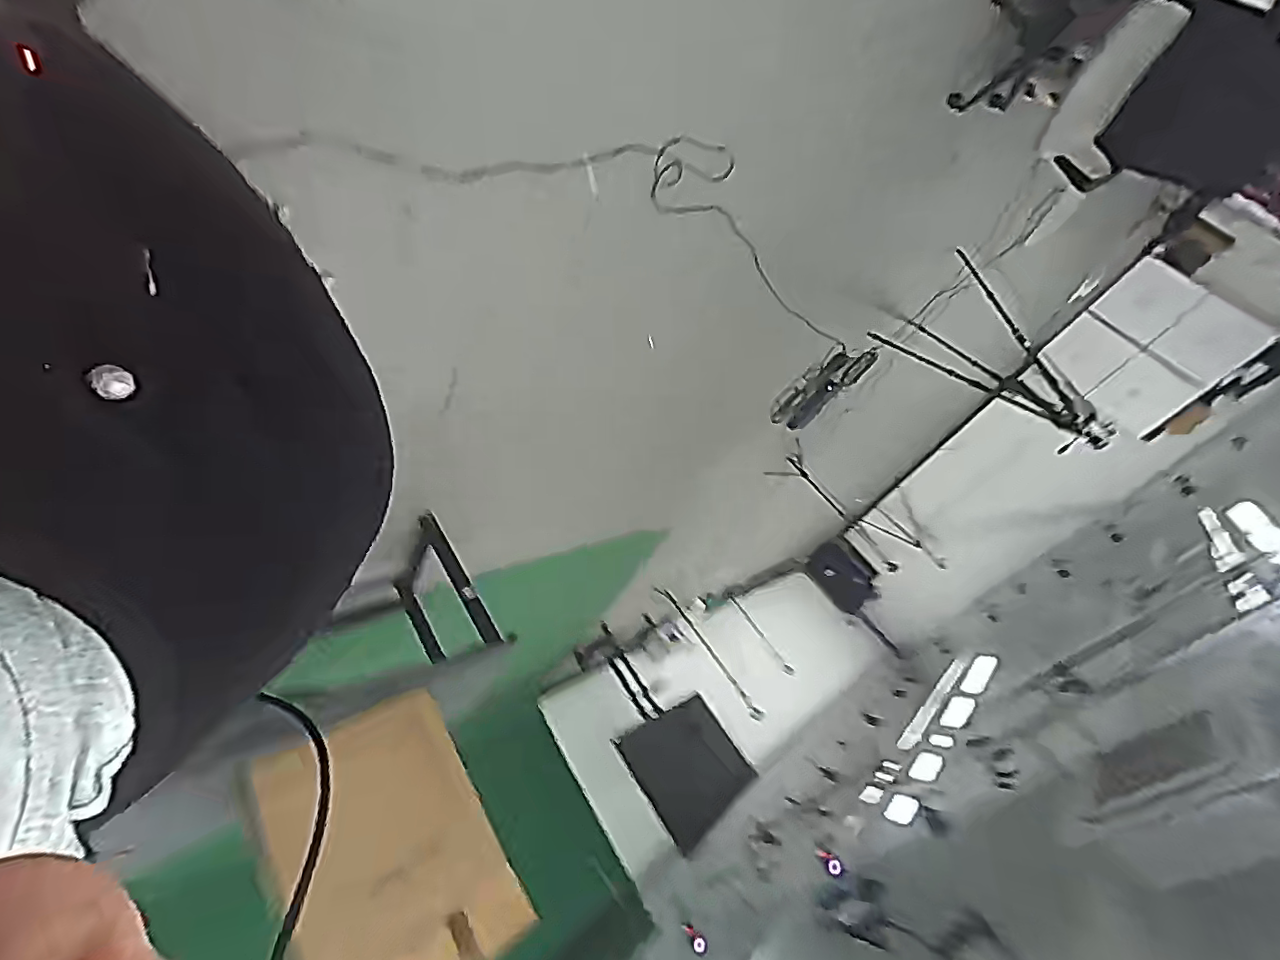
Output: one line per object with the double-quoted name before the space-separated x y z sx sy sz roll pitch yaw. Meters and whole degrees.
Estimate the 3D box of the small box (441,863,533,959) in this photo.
"small box" -0.466 1.315 1.638 0.179 0.176 0.168 -6 138 -52
